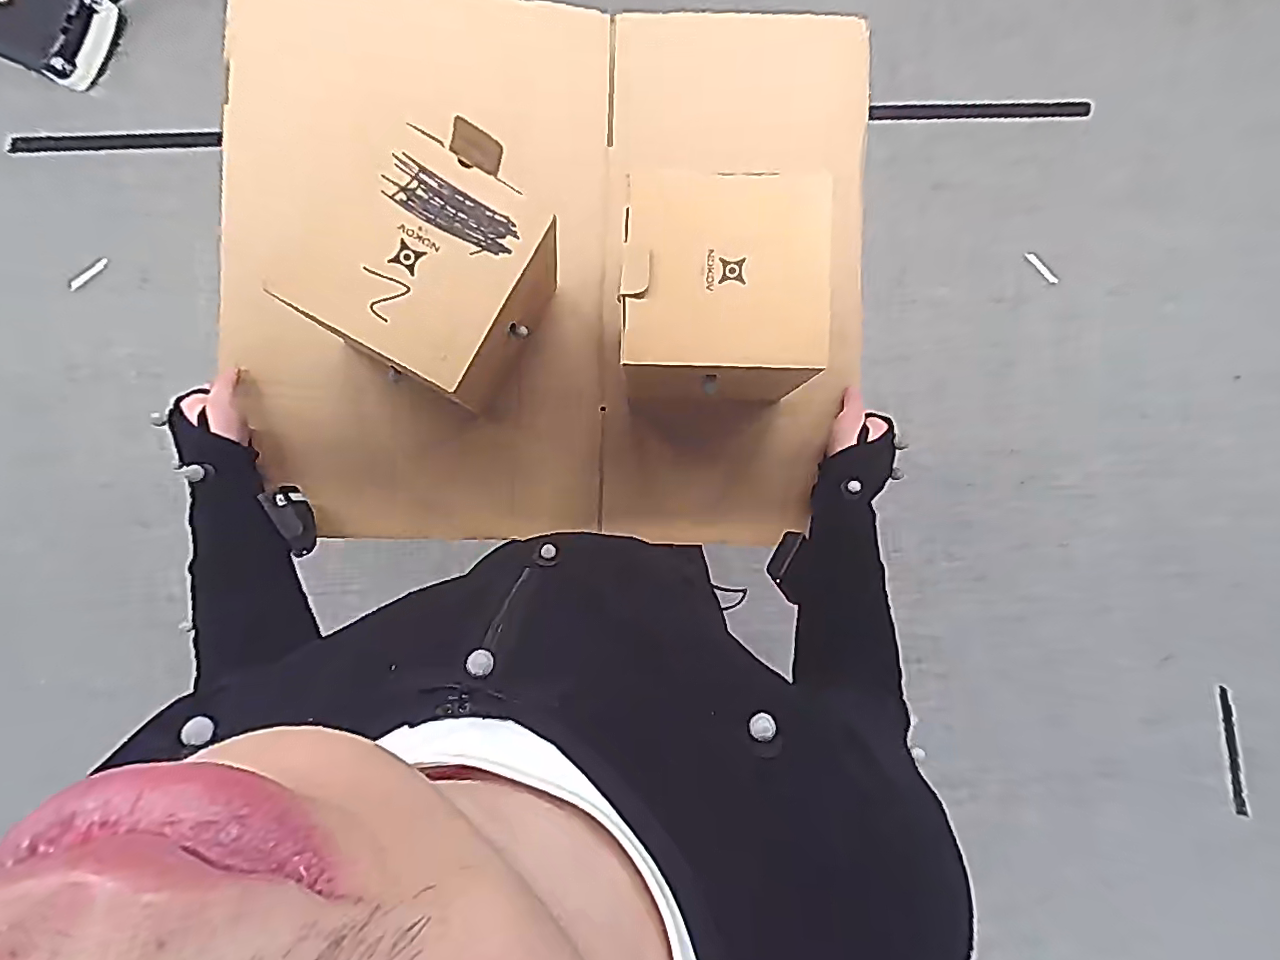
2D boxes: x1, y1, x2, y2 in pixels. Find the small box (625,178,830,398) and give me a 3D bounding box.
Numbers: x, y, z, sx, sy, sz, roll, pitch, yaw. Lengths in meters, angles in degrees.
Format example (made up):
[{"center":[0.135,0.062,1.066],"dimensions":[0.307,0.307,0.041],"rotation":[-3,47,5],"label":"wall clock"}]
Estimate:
[{"center":[0.078,-0.180,0.551],"dimensions":[0.179,0.176,0.168],"rotation":[2,89,2],"label":"small box"}]
